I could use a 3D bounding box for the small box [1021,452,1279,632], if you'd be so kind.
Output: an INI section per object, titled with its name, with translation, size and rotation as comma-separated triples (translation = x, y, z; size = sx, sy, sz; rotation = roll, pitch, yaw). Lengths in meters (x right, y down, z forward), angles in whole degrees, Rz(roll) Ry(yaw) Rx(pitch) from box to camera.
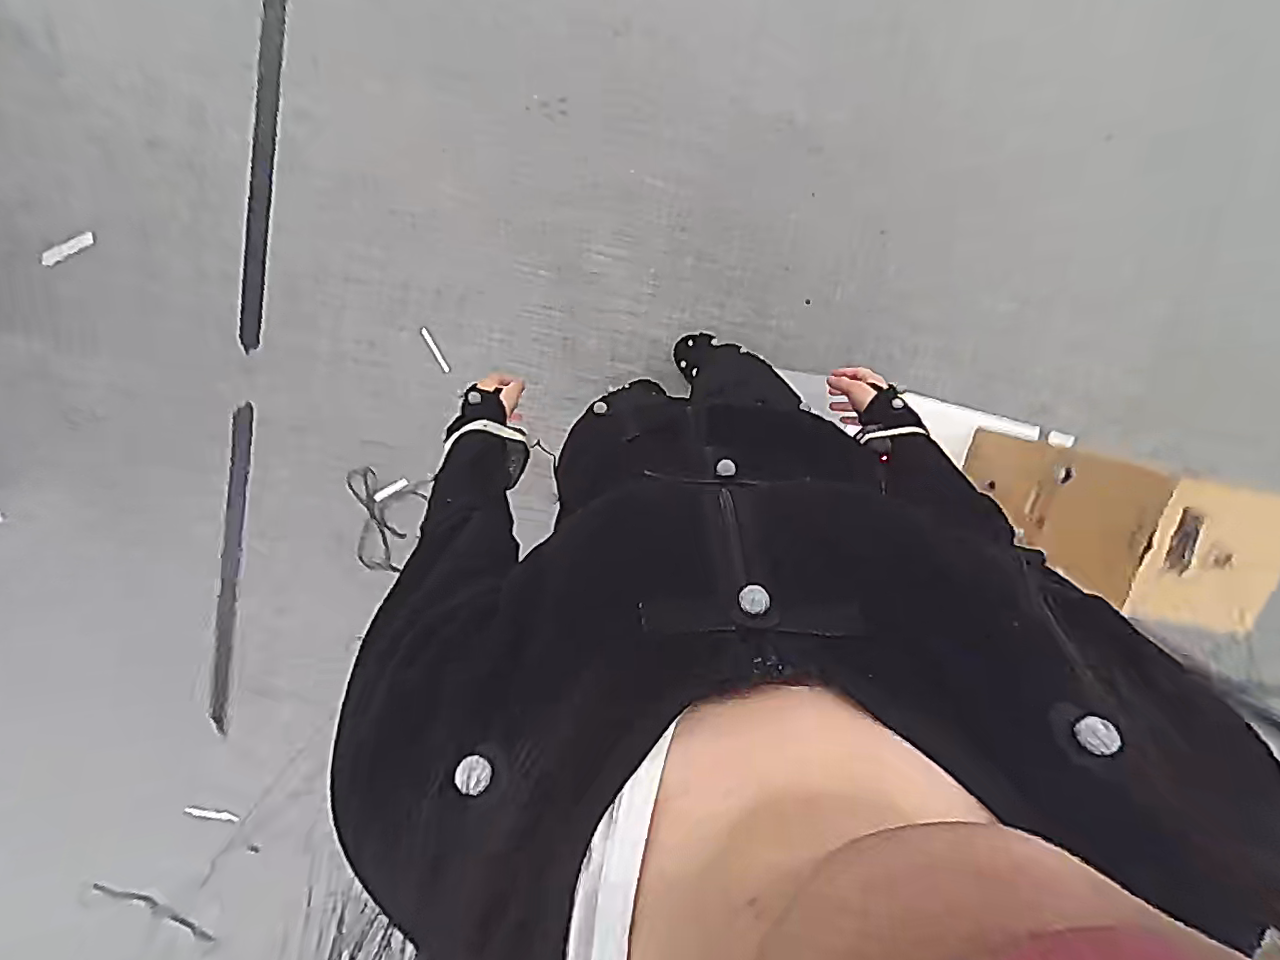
[small box]
translation = 0.644, 0.068, 0.692
size = 0.179, 0.176, 0.168
rotation = 11, 104, -6
